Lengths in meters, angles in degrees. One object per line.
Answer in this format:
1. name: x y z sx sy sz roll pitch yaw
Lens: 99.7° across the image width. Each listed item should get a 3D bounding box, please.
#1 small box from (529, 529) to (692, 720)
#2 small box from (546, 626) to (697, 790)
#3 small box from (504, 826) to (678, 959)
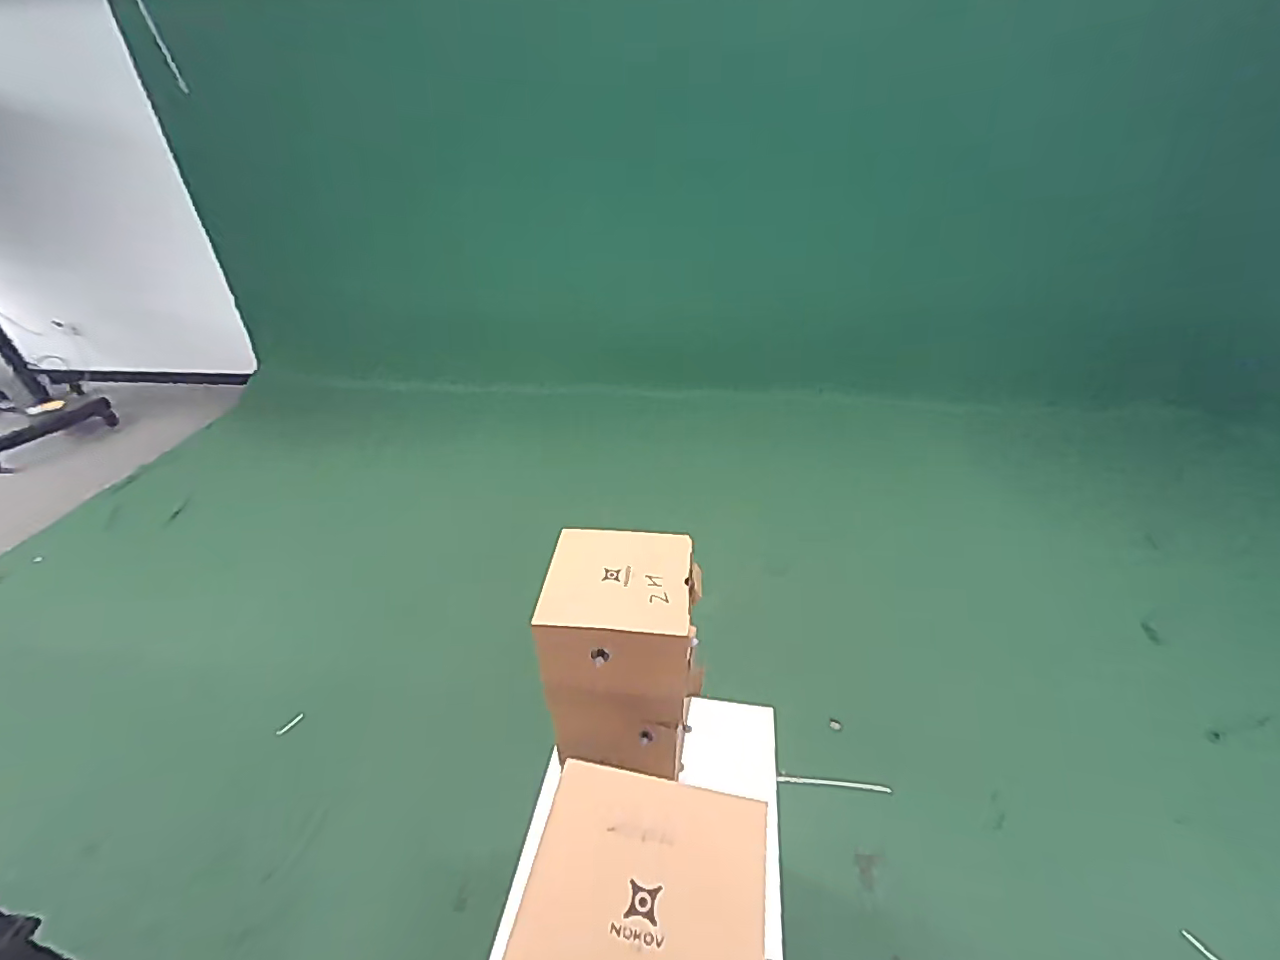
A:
1. small box: -0.026 0.181 0.684 0.179 0.176 0.168 3 35 4
2. small box: -0.019 0.314 0.780 0.179 0.176 0.168 7 35 10
3. small box: -0.052 0.577 0.678 0.179 0.176 0.168 7 34 10
